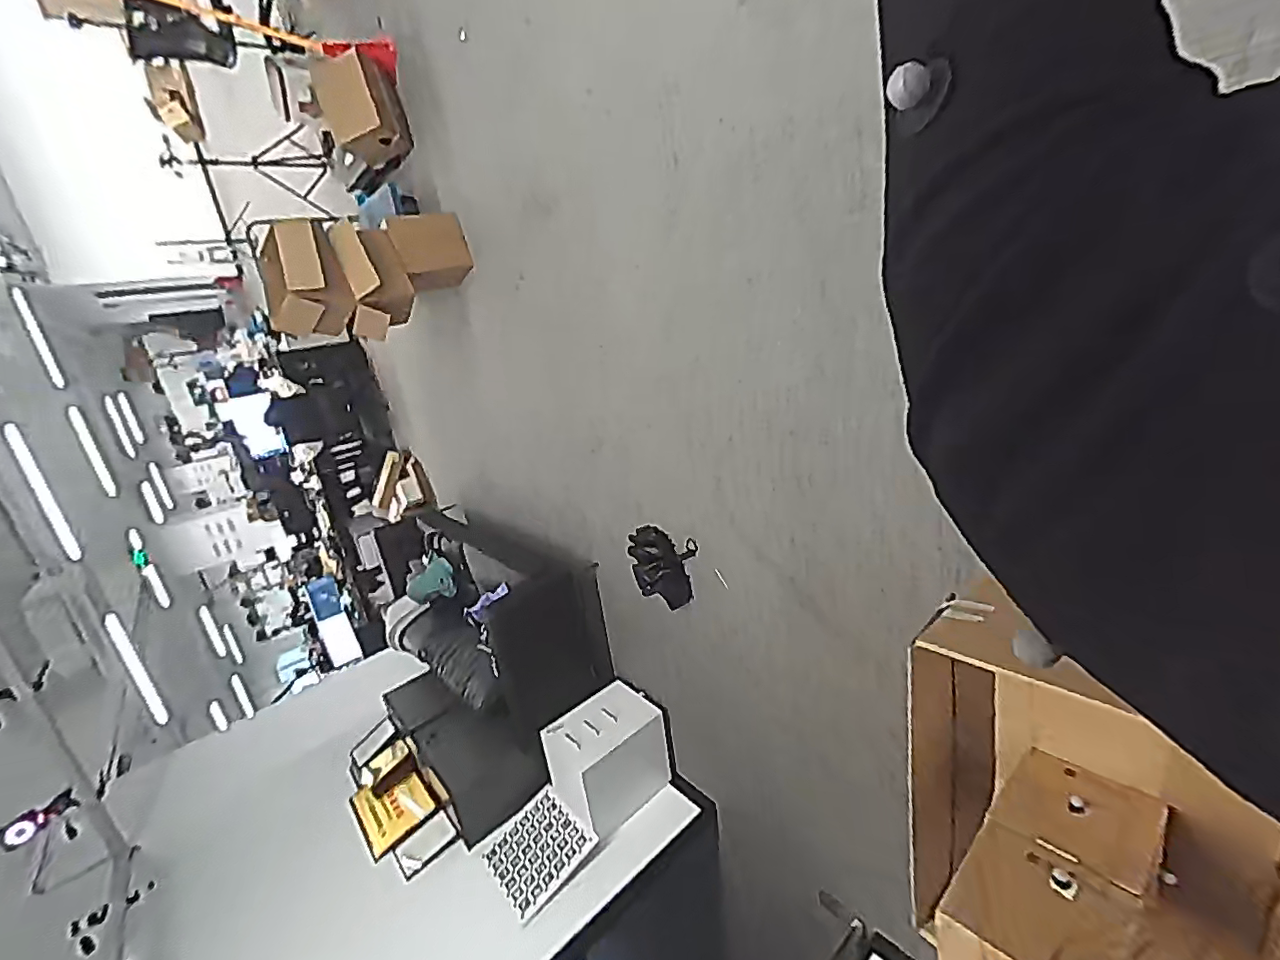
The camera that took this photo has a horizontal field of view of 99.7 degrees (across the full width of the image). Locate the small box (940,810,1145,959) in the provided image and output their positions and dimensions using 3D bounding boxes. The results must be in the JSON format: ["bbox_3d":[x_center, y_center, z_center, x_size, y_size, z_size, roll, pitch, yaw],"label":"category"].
[{"bbox_3d":[0.496,0.567,0.668,0.168,0.176,0.179,7,114,50],"label":"small box"}]
